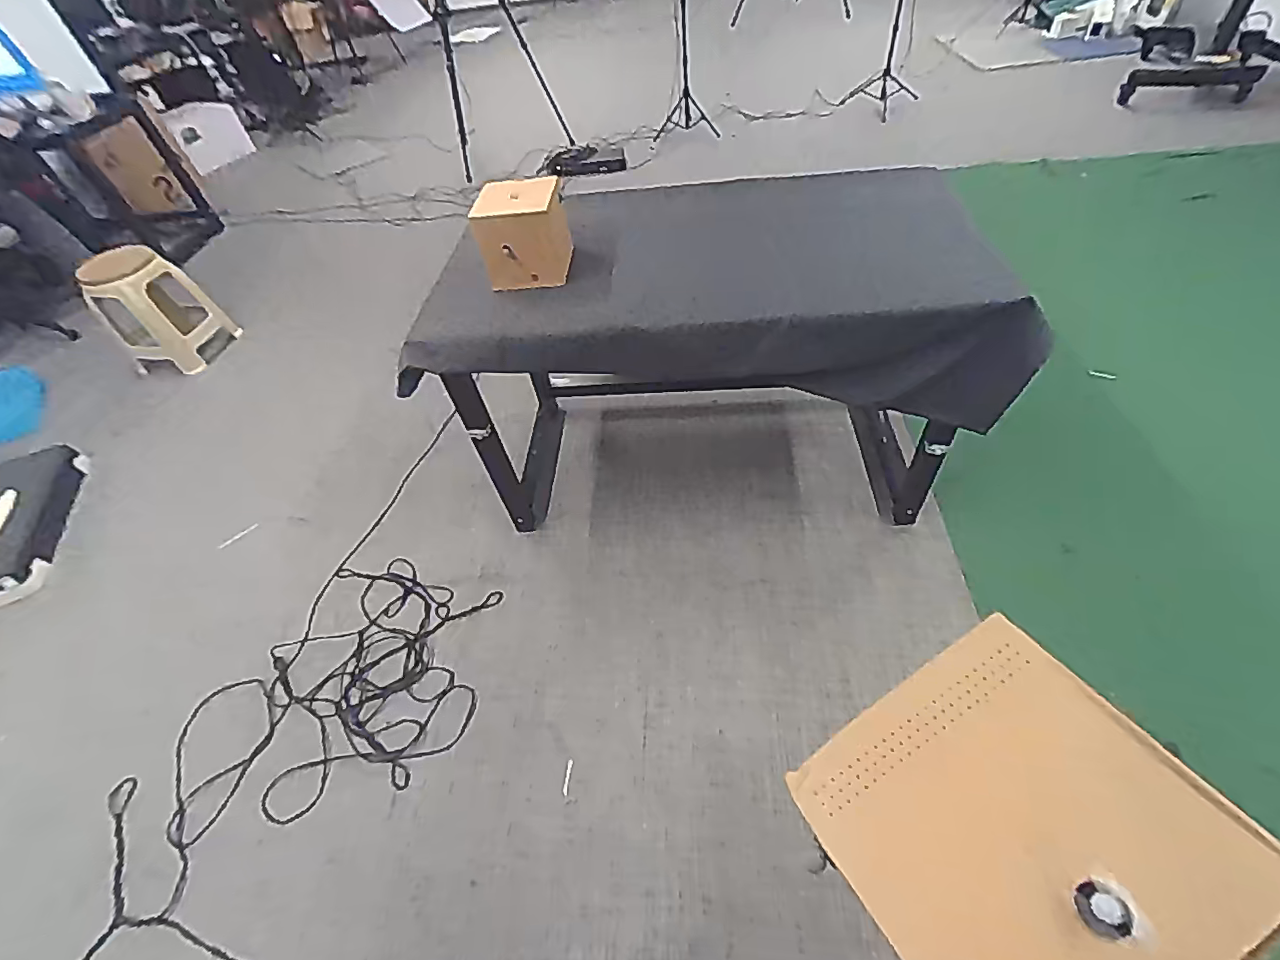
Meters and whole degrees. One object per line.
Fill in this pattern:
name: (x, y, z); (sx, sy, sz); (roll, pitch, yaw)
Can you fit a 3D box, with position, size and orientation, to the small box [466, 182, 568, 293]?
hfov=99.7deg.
small box: (-0.260, -0.527, 1.190); (0.168, 0.176, 0.179); (-3, 48, 5)
